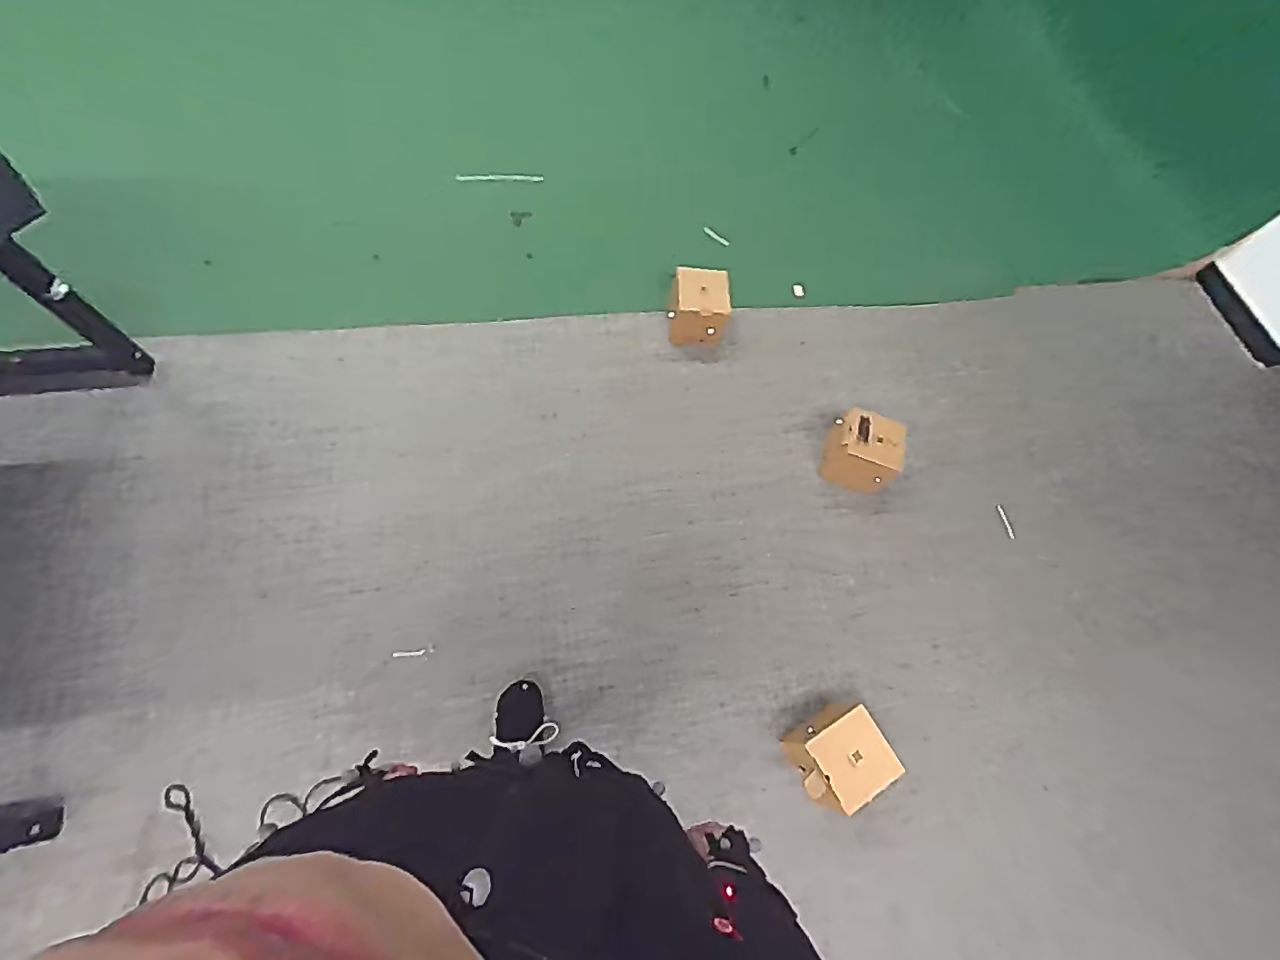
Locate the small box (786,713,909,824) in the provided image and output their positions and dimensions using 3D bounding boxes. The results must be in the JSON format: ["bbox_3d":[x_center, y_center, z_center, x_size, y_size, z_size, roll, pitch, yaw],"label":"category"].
[{"bbox_3d":[0.479,0.668,1.277,0.179,0.176,0.168,-26,72,-17],"label":"small box"}]

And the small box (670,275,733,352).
[{"bbox_3d":[0.198,-0.541,1.775,0.168,0.176,0.179,2,65,-9],"label":"small box"}]
